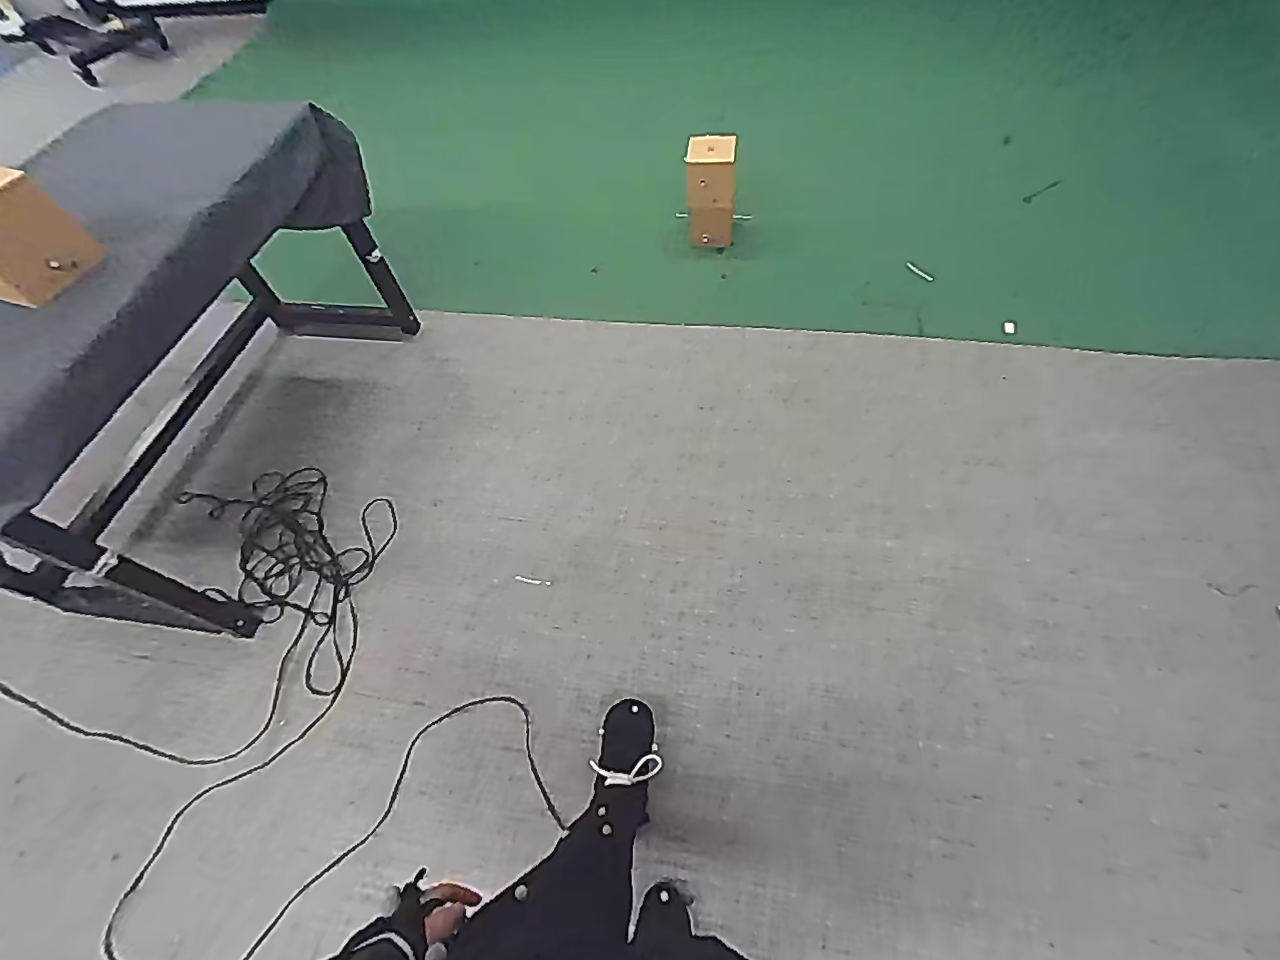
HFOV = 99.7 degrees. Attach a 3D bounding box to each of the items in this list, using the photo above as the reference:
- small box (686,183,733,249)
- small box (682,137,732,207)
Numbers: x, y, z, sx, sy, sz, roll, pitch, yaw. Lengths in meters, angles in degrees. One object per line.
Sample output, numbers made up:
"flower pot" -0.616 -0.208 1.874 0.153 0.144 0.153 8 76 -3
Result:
"small box" 0.266 -1.027 2.096 0.168 0.176 0.179 5 59 9
"small box" 0.245 -1.111 1.958 0.168 0.176 0.179 4 57 8
